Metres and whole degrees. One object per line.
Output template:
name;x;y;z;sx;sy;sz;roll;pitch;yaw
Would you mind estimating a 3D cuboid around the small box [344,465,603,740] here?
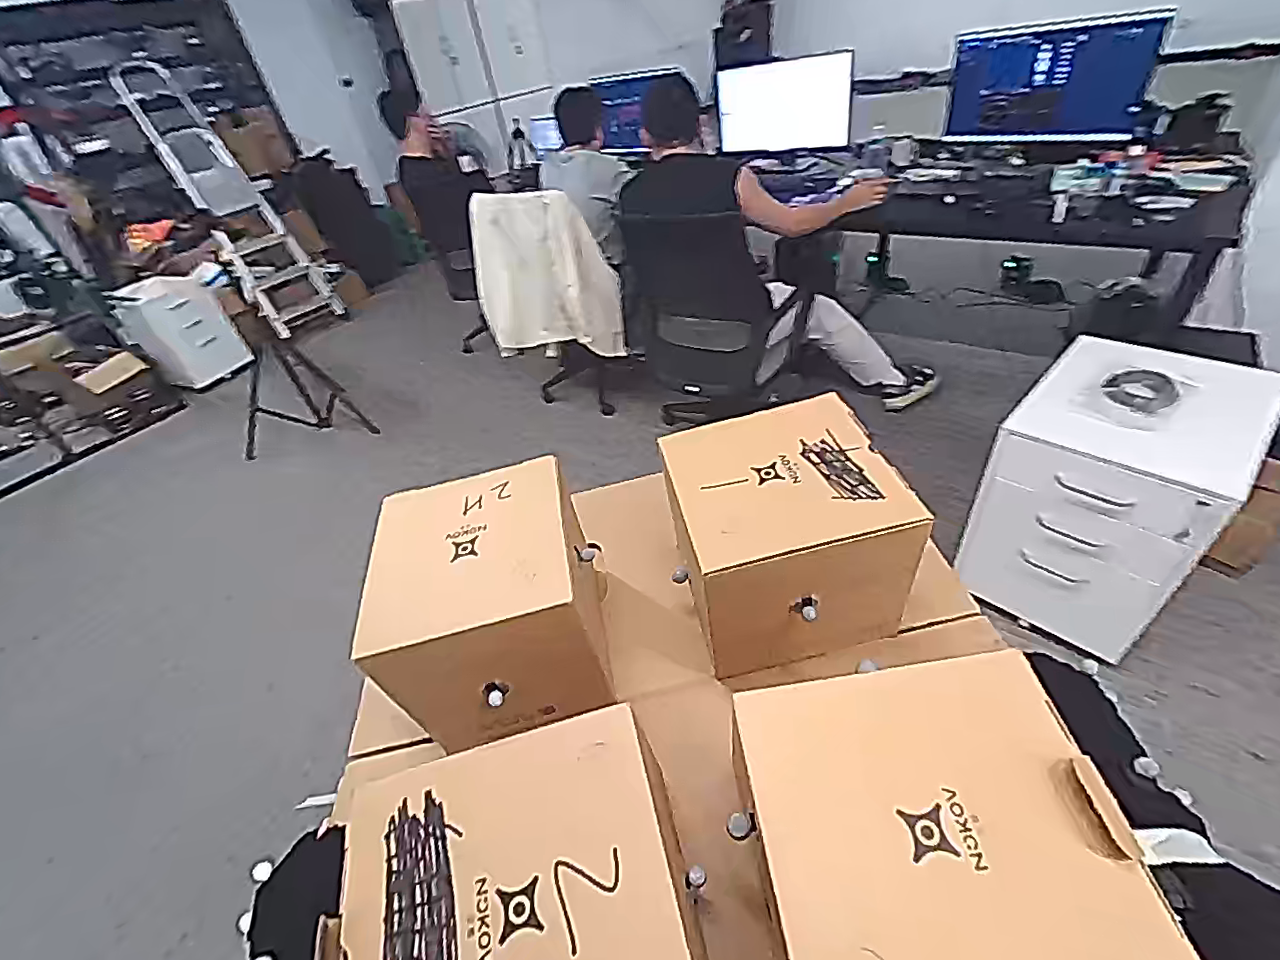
small box;-0.138;0.119;0.505;0.168;0.176;0.179;-14;42;-2
